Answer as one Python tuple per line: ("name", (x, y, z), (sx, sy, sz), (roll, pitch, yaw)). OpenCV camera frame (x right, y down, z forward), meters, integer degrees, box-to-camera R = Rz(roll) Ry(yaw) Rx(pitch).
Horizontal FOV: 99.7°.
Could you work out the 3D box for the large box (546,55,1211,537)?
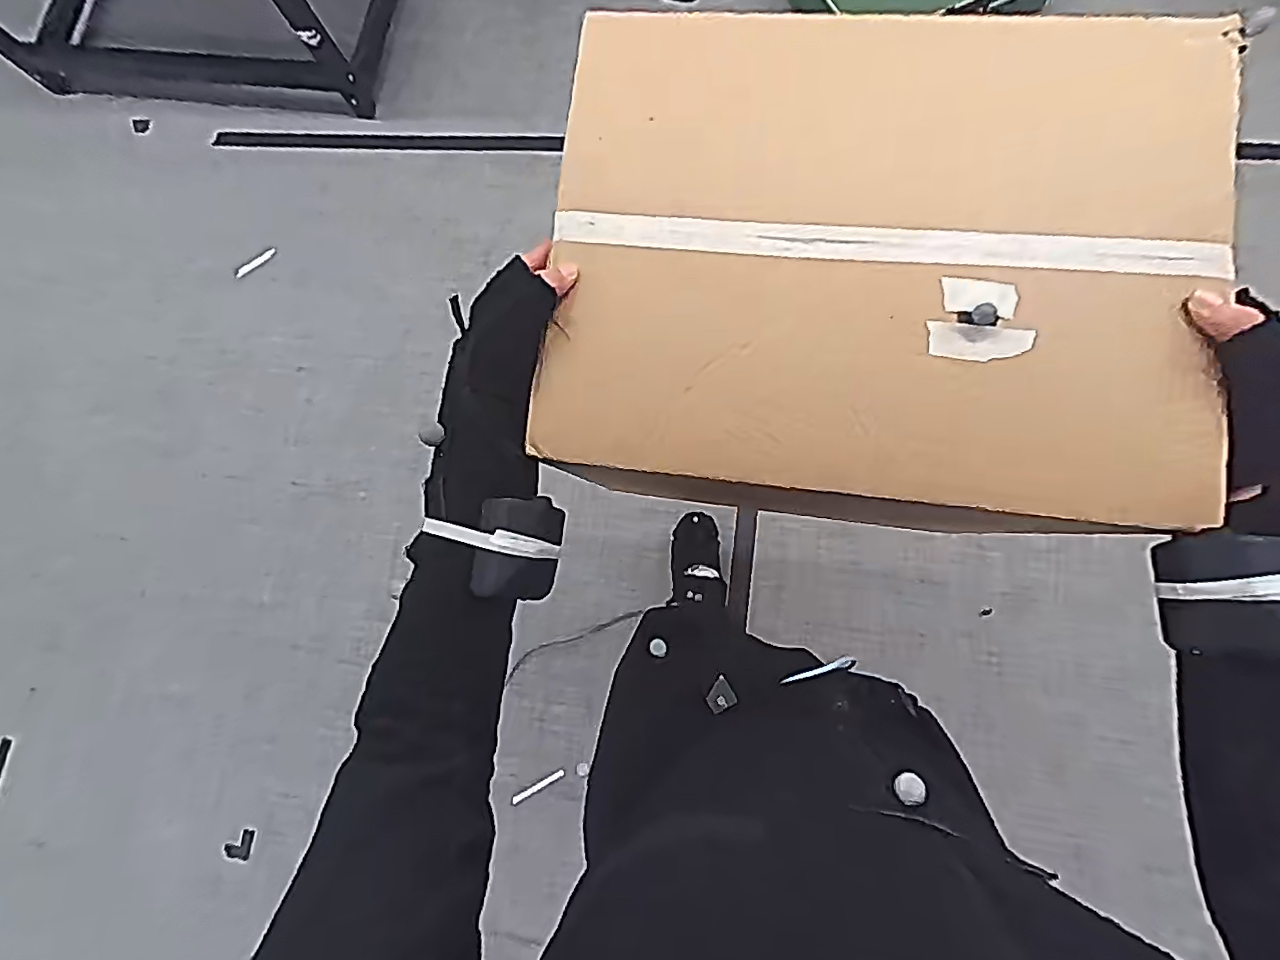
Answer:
("large box", (0.160, -0.122, 0.500), (0.408, 0.320, 0.320), (6, 86, 7))
